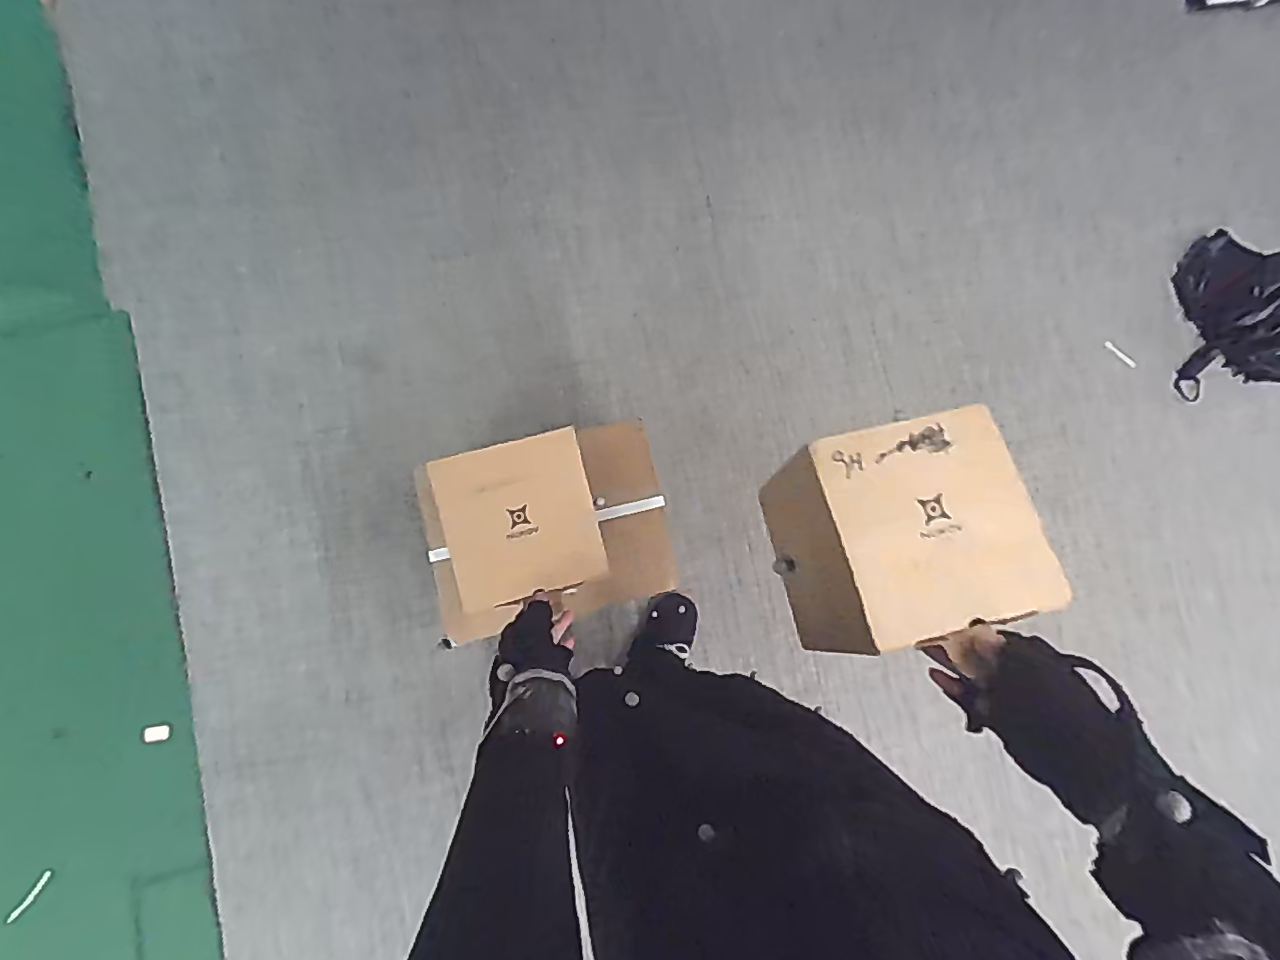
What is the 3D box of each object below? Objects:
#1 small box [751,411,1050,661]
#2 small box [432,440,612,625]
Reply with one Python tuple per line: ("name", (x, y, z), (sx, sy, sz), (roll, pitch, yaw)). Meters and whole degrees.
("small box", (0.222, 0.058, 0.514), (0.168, 0.176, 0.179), (-13, 76, -6))
("small box", (-0.138, 0.058, 0.683), (0.168, 0.176, 0.179), (-16, 91, -6))
